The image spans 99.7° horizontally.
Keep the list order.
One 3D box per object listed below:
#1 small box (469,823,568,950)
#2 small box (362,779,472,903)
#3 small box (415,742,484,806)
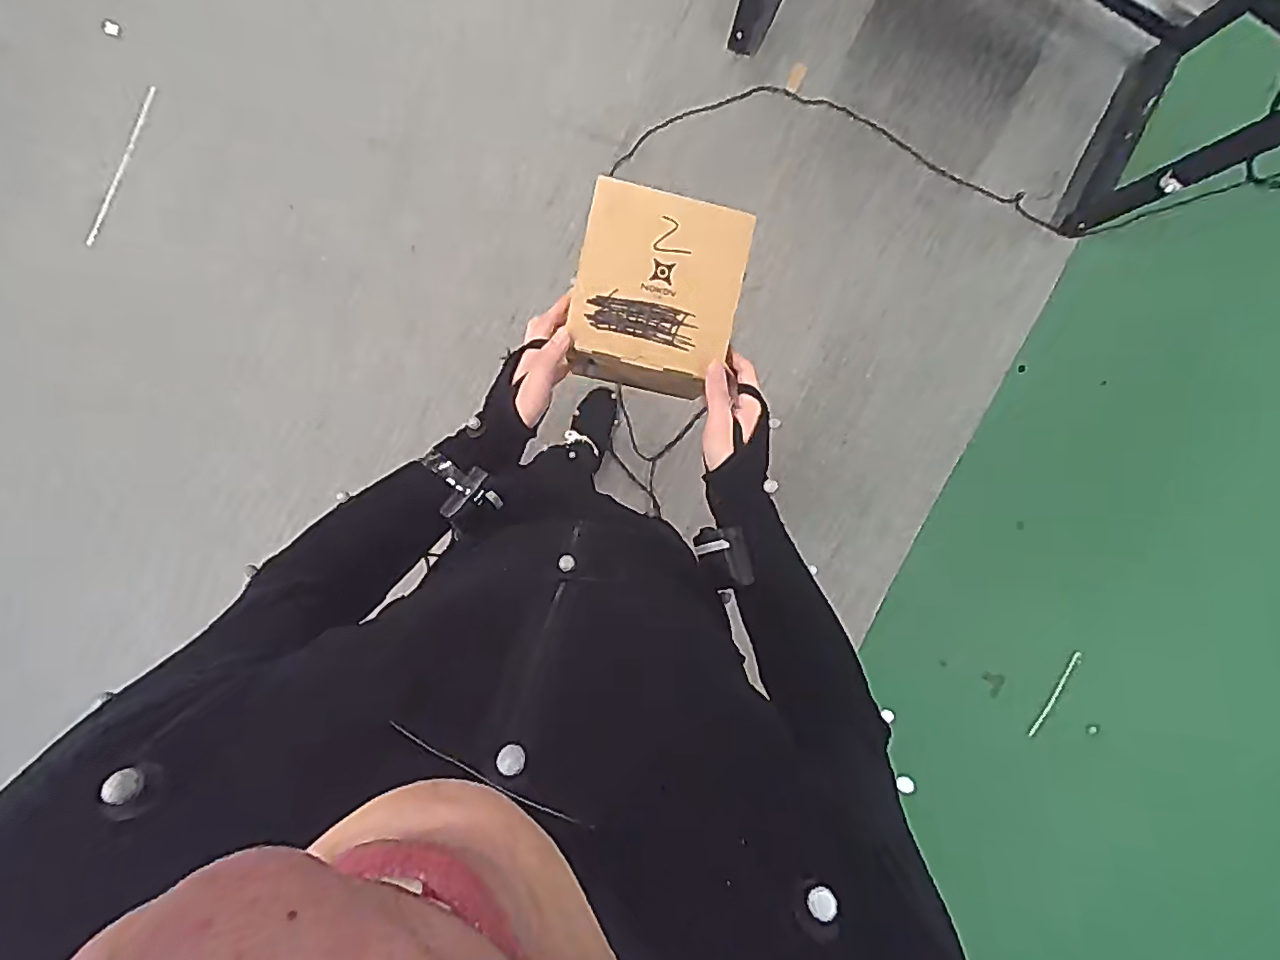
[{"bbox_3d":[-0.301,1.020,1.376,0.179,0.176,0.168,27,93,-3],"label":"small box"},{"bbox_3d":[-0.545,0.891,1.352,0.179,0.176,0.168,26,92,-4],"label":"small box"},{"bbox_3d":[-0.555,0.878,1.517,0.168,0.176,0.179,30,92,-5],"label":"small box"}]
